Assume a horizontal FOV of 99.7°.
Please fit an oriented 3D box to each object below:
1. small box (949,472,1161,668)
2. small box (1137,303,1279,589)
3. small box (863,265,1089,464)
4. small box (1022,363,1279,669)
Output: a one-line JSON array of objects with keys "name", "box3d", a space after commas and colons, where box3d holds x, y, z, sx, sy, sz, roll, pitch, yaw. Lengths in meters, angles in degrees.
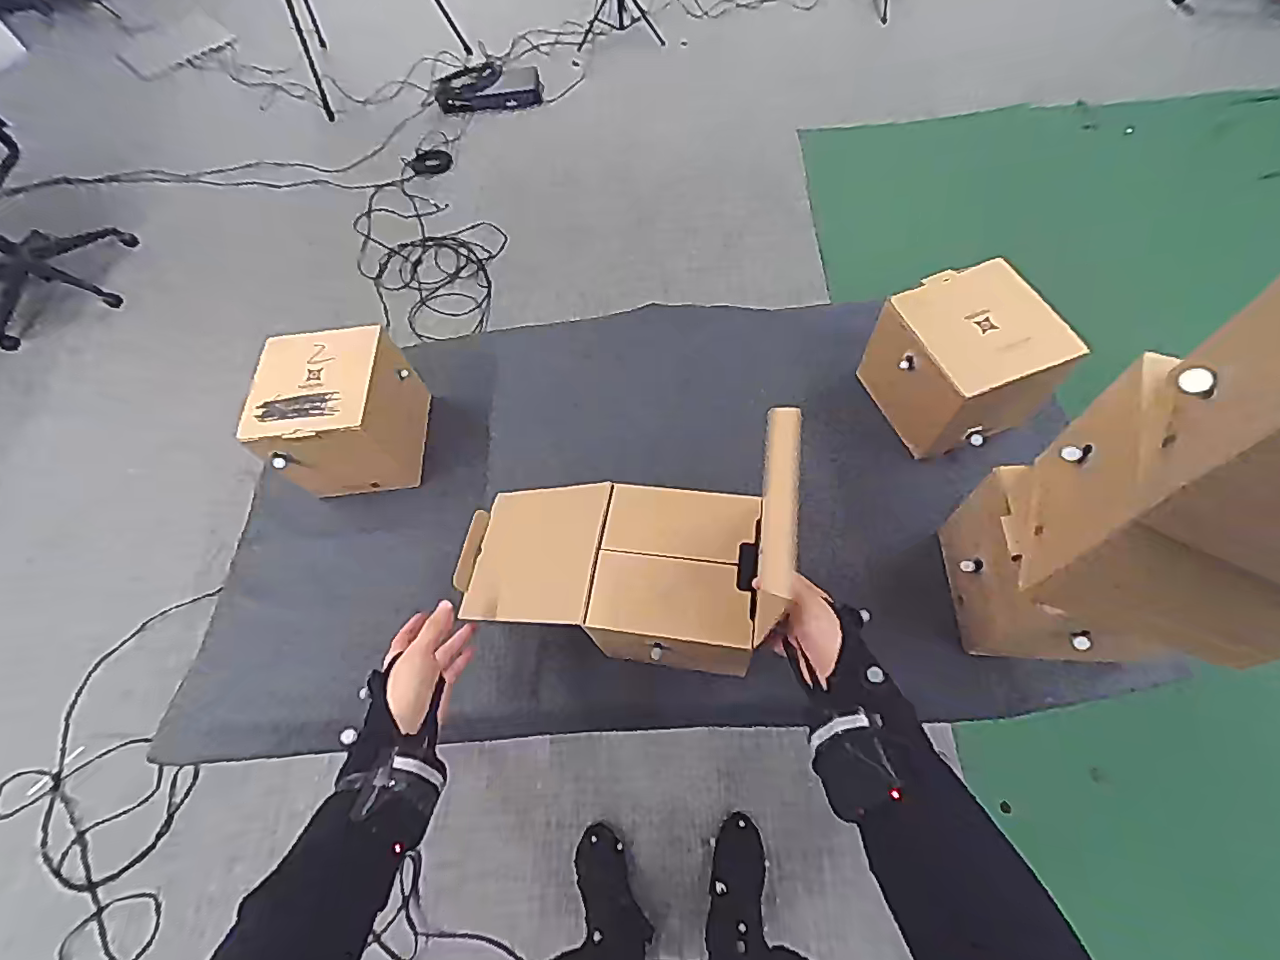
[{"name": "small box", "box3d": [0.470, 0.105, 0.599, 0.179, 0.176, 0.168, 1, 60, 7]}, {"name": "small box", "box3d": [0.444, -0.025, 0.297, 0.179, 0.176, 0.168, 30, 66, 21]}, {"name": "small box", "box3d": [0.434, -0.151, 0.740, 0.168, 0.176, 0.179, -20, 64, -2]}, {"name": "small box", "box3d": [0.459, 0.037, 0.450, 0.179, 0.176, 0.168, 21, 63, 16]}]
